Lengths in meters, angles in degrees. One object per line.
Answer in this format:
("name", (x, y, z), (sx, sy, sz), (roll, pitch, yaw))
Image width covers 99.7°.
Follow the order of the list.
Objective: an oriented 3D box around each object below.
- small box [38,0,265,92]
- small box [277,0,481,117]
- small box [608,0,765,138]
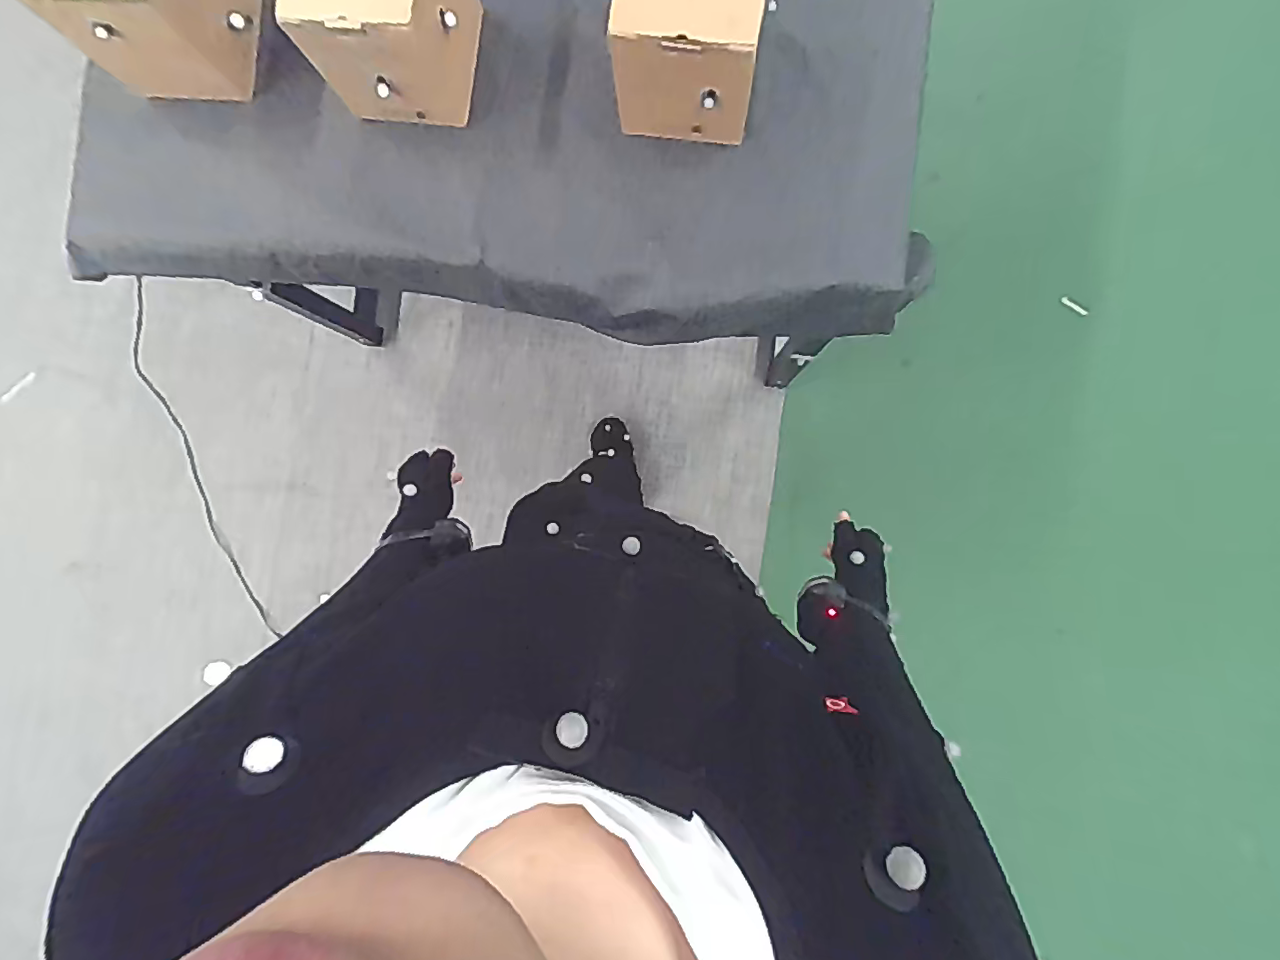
("small box", (-0.643, -0.650, 0.710), (0.179, 0.176, 0.168), (5, 90, 3))
("small box", (-0.316, -0.602, 0.688), (0.168, 0.176, 0.179), (8, 90, 4))
("small box", (0.063, -0.558, 0.662), (0.168, 0.176, 0.179), (9, 88, 3))
